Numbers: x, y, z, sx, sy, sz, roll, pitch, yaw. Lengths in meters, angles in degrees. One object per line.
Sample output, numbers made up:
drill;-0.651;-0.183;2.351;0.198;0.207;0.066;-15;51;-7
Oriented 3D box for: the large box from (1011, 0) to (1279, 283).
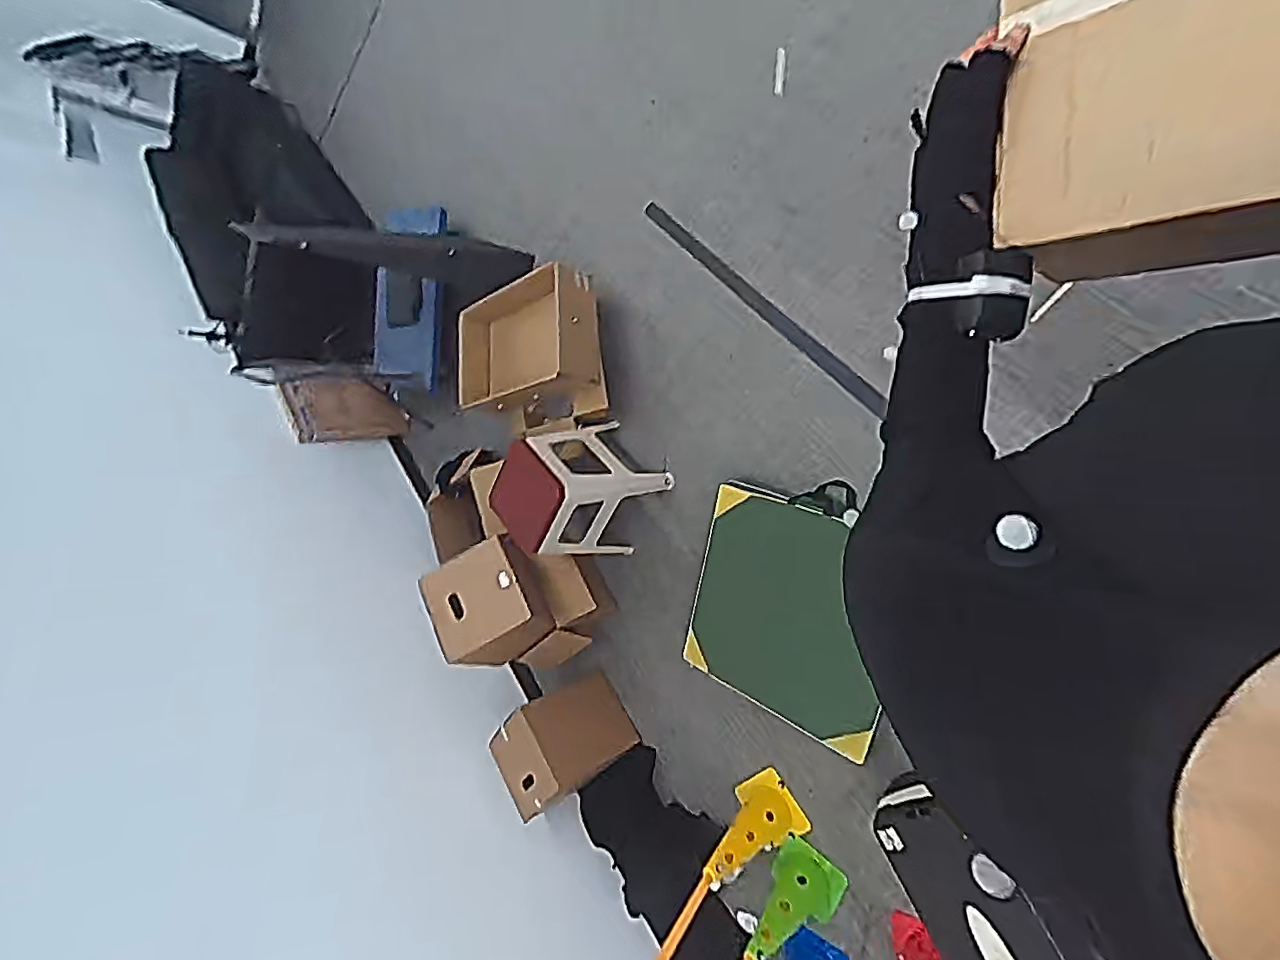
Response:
large box;0.537;-0.350;0.390;0.408;0.320;0.320;6;104;43
